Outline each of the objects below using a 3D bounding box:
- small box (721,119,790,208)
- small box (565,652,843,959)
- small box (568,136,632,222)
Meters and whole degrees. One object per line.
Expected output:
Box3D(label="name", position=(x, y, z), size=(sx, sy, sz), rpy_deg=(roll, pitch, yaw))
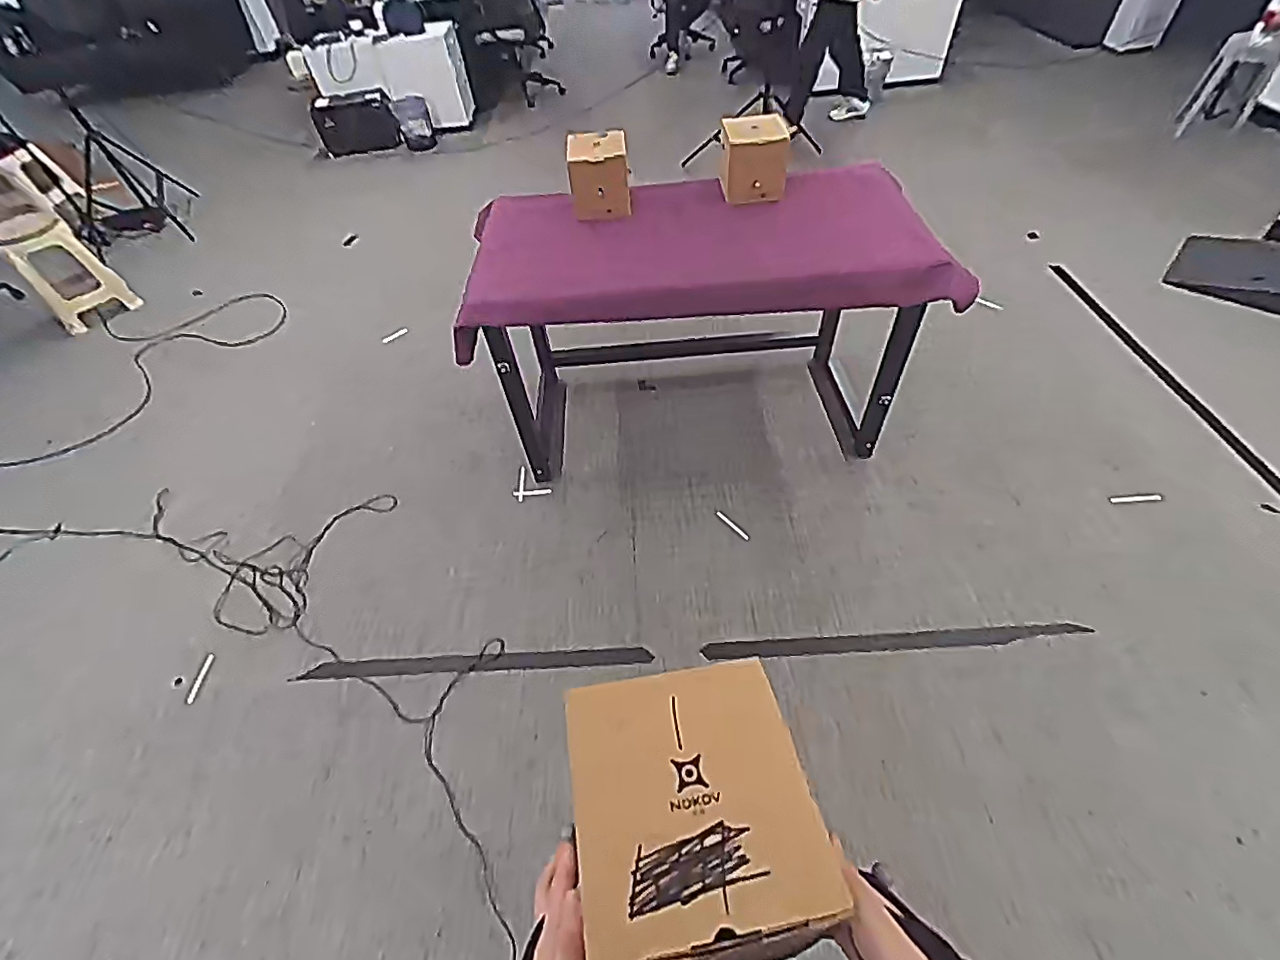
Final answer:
Box3D(label="small box", position=(0.331, -0.923, 1.581), size=(0.168, 0.176, 0.179), rpy_deg=(-5, 52, 3))
Box3D(label="small box", position=(0.034, 0.271, 0.436), size=(0.168, 0.176, 0.179), rpy_deg=(-7, 41, -8))
Box3D(label="small box", position=(-0.114, -0.877, 1.587), size=(0.168, 0.176, 0.179), rpy_deg=(-5, 53, 1))
